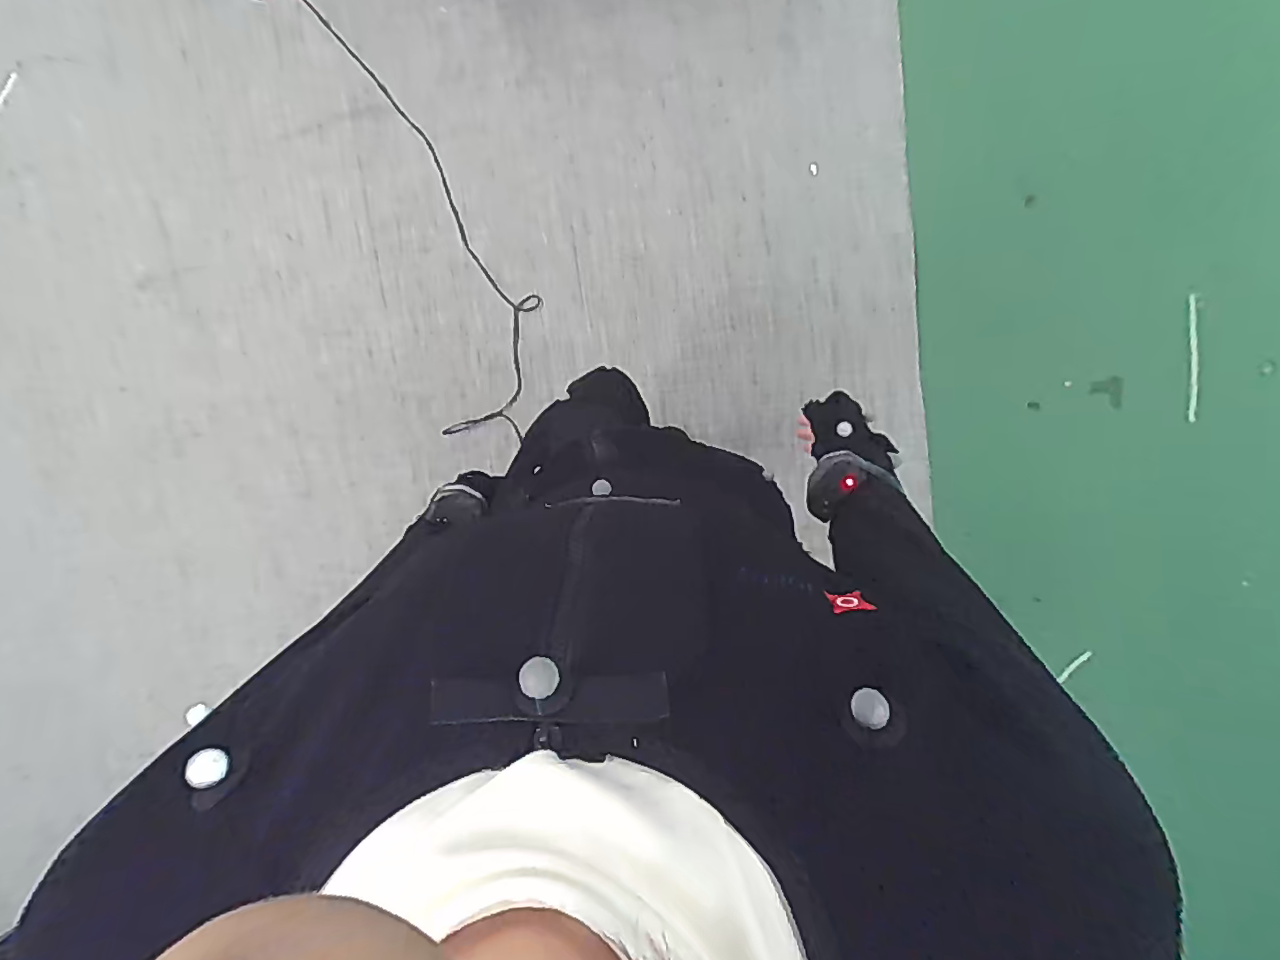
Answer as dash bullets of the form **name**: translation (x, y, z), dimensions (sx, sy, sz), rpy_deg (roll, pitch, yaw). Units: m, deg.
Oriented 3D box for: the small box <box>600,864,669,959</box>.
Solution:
- **small box**: translation (-0.011, 1.190, 1.476), dimensions (0.179, 0.176, 0.168), rpy_deg (-1, 98, 3)
